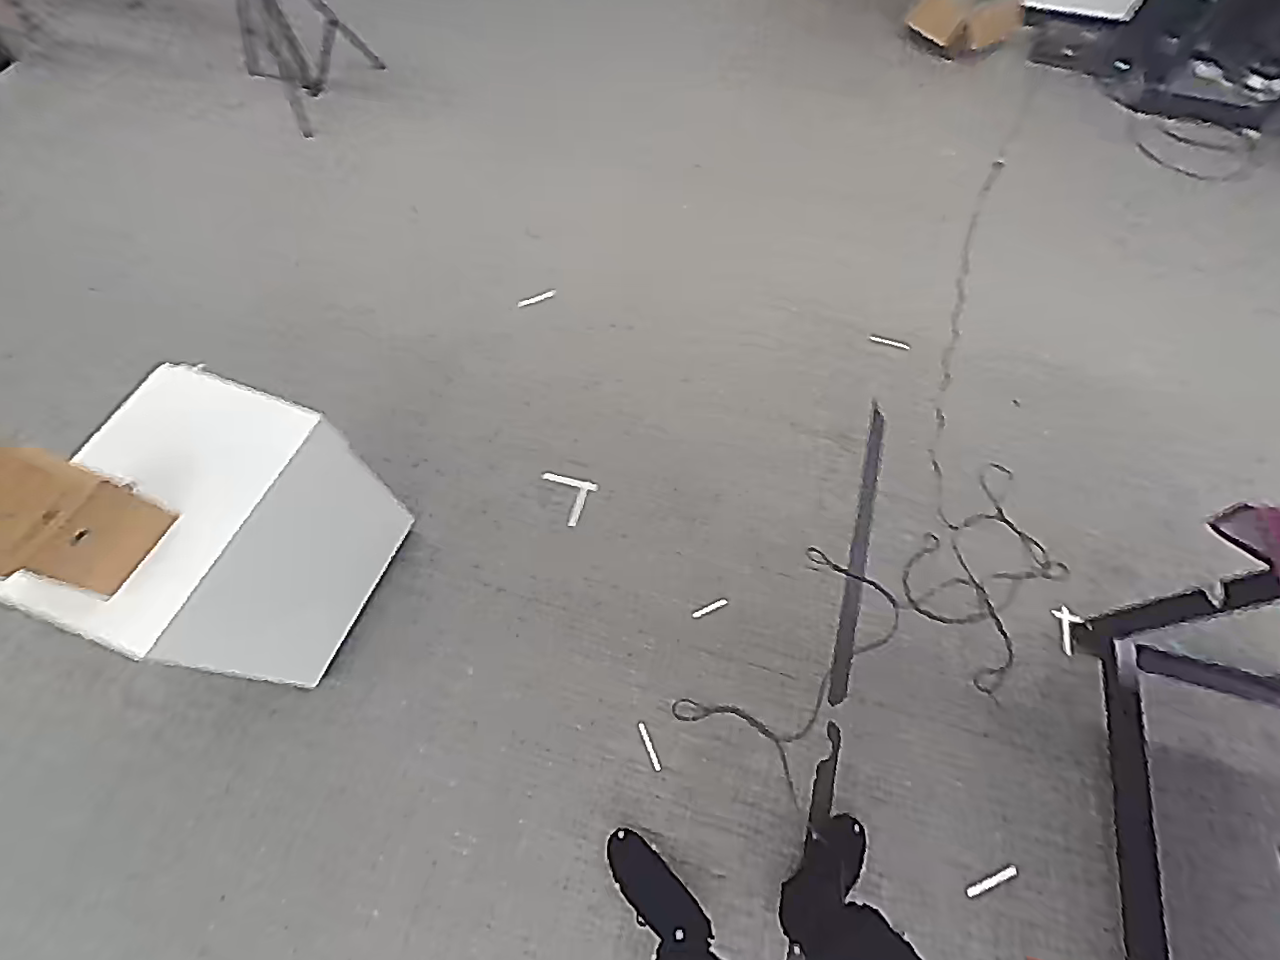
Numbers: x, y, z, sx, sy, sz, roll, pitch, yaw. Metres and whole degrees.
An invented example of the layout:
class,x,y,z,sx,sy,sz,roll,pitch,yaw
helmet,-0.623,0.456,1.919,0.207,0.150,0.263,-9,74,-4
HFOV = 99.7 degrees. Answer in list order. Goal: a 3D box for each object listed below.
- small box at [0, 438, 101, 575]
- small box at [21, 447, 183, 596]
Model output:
class,x,y,z,sx,sy,sz,roll,pitch,yaw
small box,-0.959,0.021,0.775,0.179,0.176,0.168,21,65,10
small box,-0.956,0.078,0.928,0.168,0.176,0.179,20,64,8
